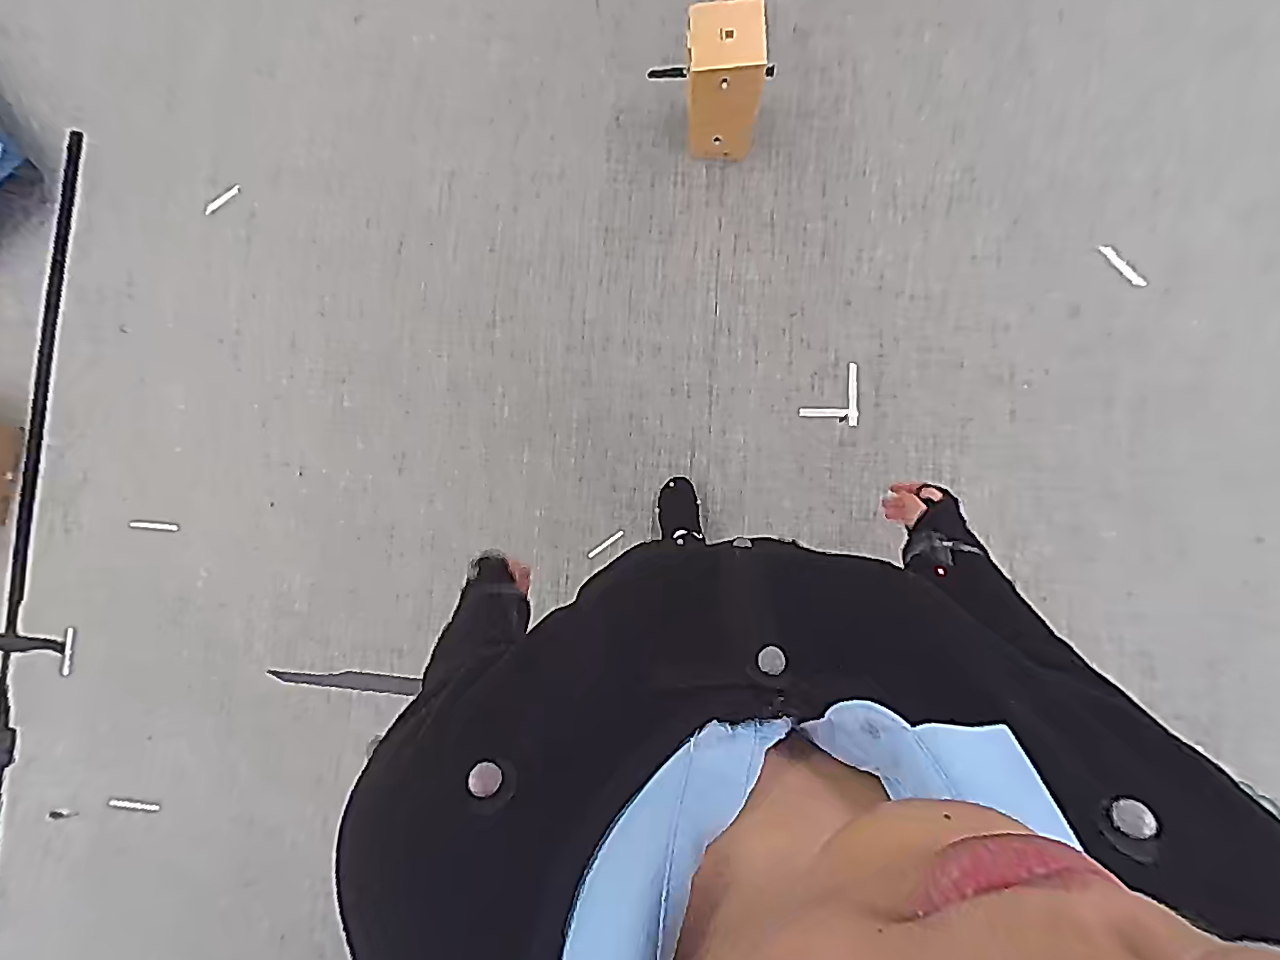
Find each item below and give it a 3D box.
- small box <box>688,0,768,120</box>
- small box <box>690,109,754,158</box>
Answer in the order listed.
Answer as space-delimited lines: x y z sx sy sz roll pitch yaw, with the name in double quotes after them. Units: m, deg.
0.209 -1.016 1.315 0.179 0.176 0.168 -3 87 5 "small box"
0.227 -1.016 1.478 0.168 0.176 0.179 6 87 4 "small box"
